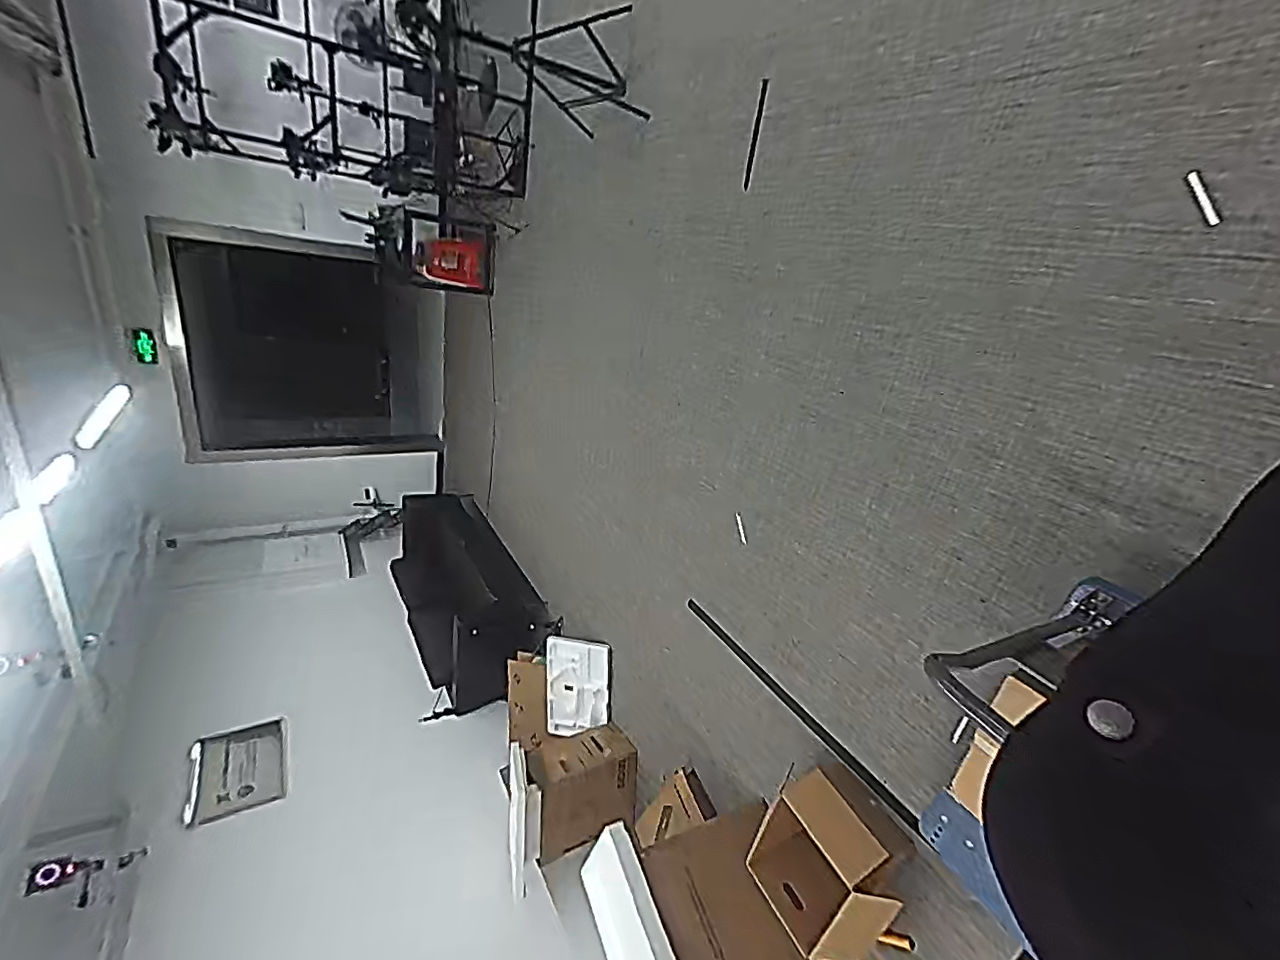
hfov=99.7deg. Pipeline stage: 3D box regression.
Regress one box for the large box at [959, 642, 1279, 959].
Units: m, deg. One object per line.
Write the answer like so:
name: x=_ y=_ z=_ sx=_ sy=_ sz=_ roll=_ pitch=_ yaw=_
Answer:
large box: x=0.893 y=0.560 z=0.963 sx=0.408 sy=0.320 sz=0.320 roll=39 pitch=125 yaw=51
